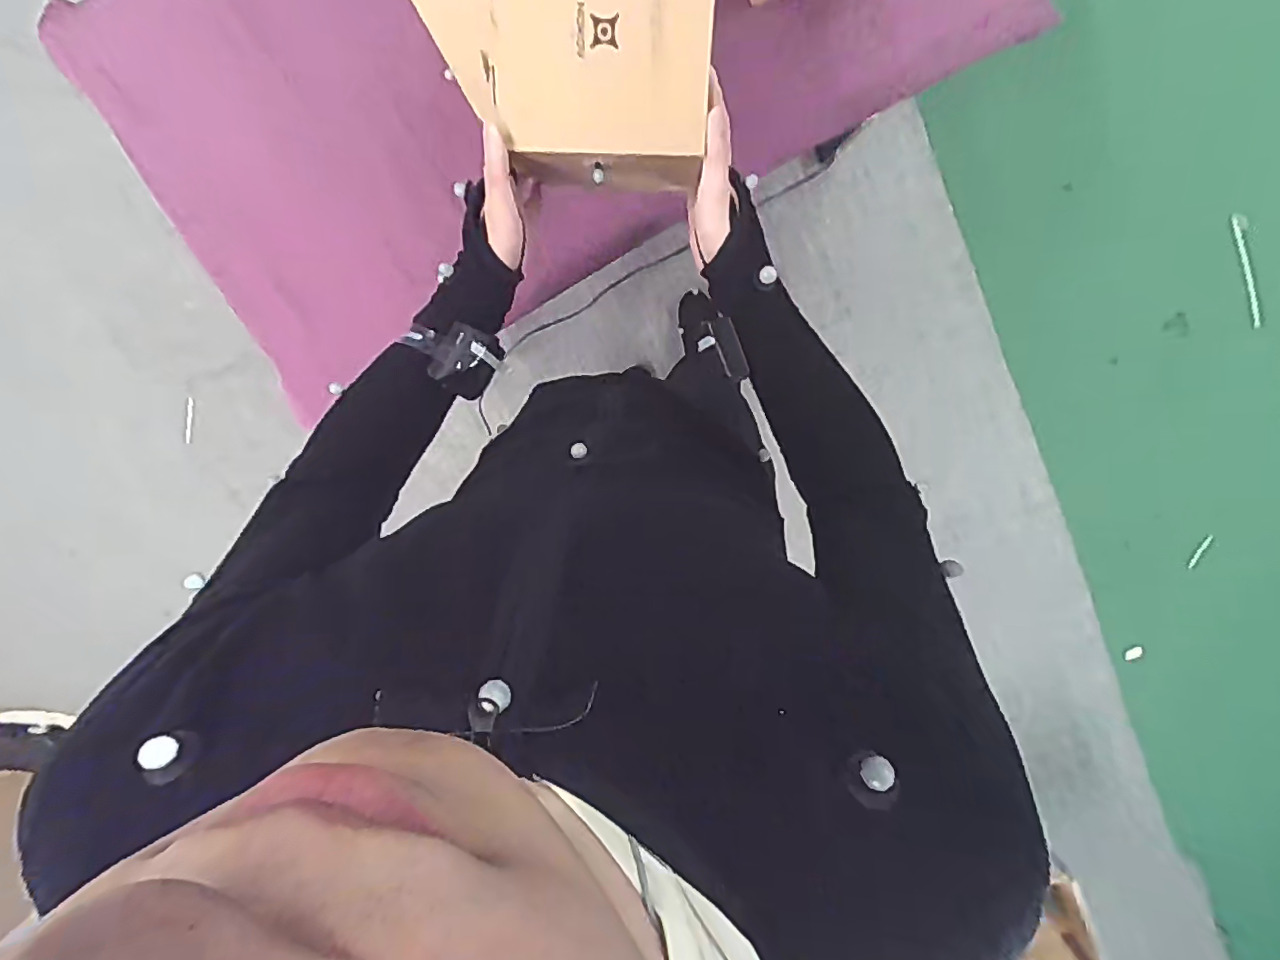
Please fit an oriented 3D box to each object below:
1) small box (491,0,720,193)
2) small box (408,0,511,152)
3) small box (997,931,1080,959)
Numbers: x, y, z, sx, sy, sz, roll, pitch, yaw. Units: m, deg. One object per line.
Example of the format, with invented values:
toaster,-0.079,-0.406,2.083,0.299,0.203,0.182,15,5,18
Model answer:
small box,-0.024,-0.365,0.487,0.179,0.176,0.168,3,110,1
small box,-0.158,-0.540,0.666,0.168,0.176,0.179,-29,101,7
small box,0.977,1.211,1.255,0.168,0.176,0.179,-26,103,6
